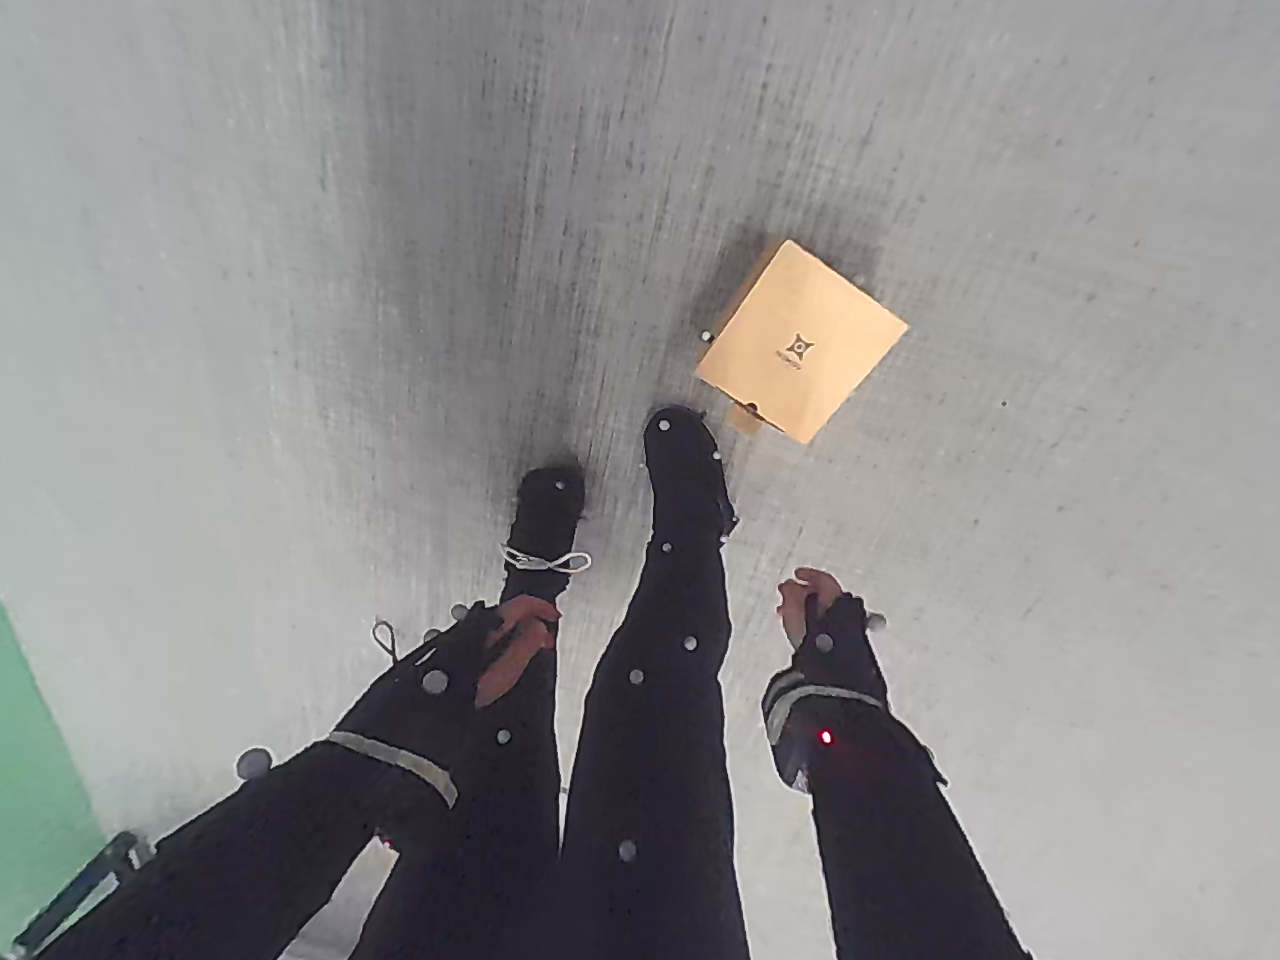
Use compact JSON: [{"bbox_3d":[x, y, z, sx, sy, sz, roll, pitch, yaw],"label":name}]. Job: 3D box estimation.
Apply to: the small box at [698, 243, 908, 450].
[{"bbox_3d":[0.188,-0.174,0.676,0.168,0.176,0.179,32,117,-7],"label":"small box"}]
